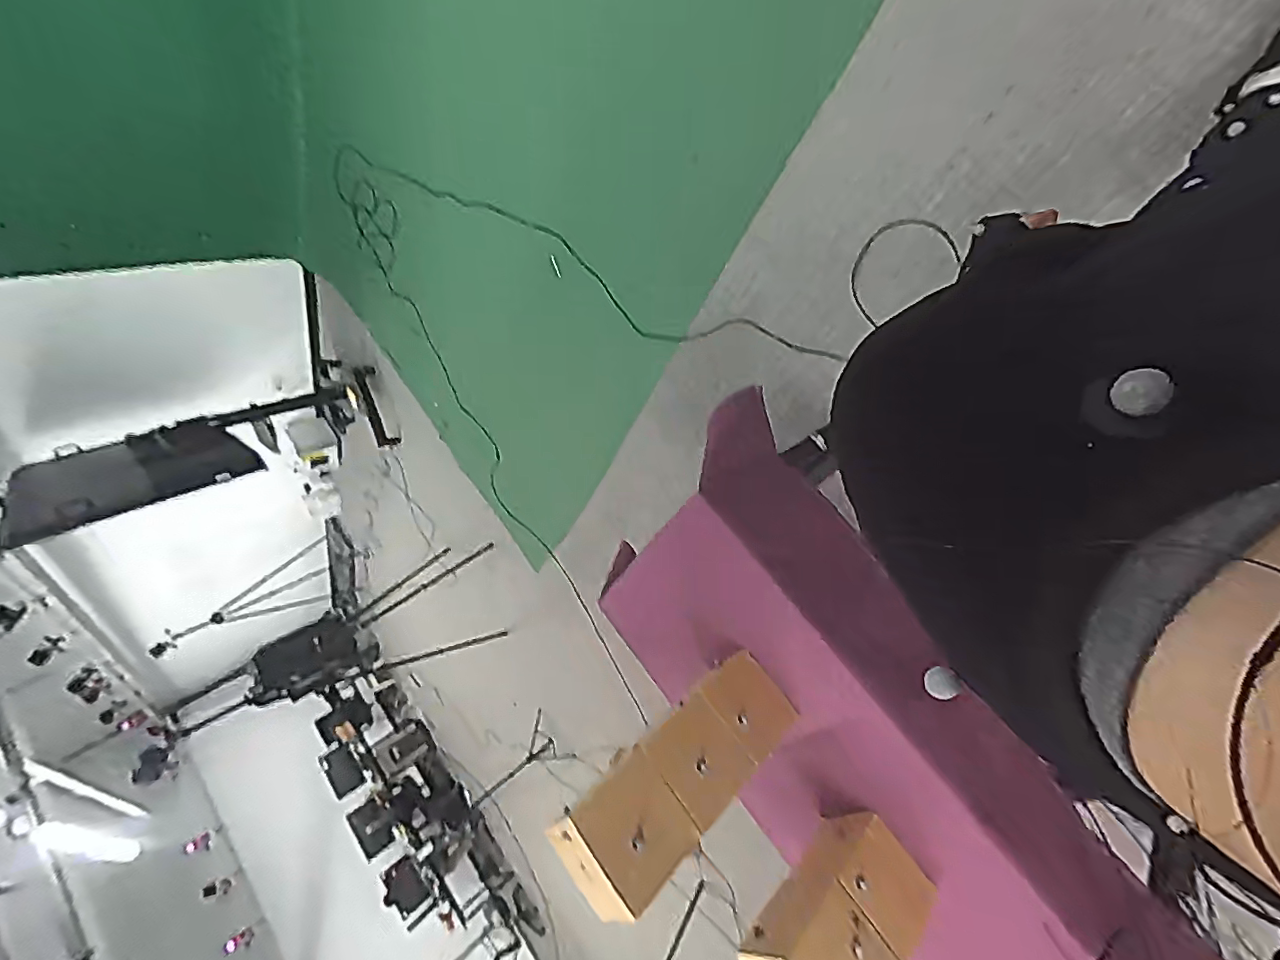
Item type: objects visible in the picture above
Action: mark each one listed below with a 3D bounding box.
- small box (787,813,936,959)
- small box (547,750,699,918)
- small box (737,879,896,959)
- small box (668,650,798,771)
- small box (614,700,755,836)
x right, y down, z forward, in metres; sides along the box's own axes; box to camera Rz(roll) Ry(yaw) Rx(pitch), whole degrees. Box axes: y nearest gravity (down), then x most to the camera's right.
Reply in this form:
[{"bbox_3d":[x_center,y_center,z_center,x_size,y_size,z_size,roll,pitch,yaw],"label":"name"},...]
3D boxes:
[{"bbox_3d":[0.434,0.796,1.057,0.179,0.176,0.168,51,139,16],"label":"small box"},{"bbox_3d":[-0.029,0.613,0.945,0.179,0.176,0.168,50,138,15],"label":"small box"},{"bbox_3d":[0.313,0.849,0.958,0.168,0.176,0.179,51,139,16],"label":"small box"},{"bbox_3d":[0.199,0.497,1.151,0.179,0.176,0.168,52,139,15],"label":"small box"},{"bbox_3d":[0.085,0.554,1.048,0.179,0.176,0.168,51,138,14],"label":"small box"}]
